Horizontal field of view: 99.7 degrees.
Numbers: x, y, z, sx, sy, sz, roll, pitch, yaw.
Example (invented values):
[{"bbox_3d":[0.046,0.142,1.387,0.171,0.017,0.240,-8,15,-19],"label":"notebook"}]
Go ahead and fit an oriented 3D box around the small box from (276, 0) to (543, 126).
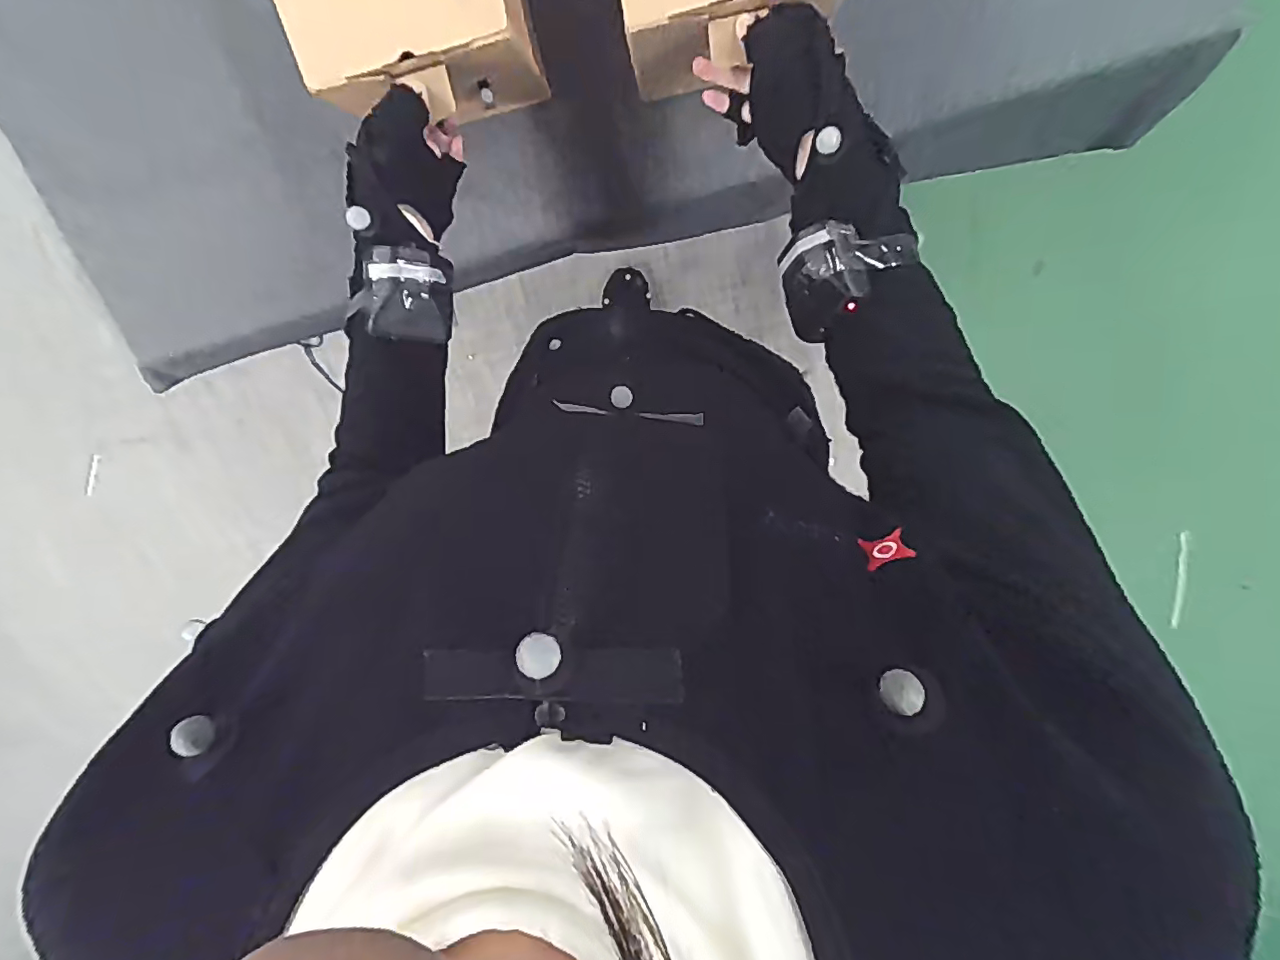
[{"bbox_3d":[-0.192,-0.424,0.453,0.168,0.176,0.179,-13,109,5],"label":"small box"}]
